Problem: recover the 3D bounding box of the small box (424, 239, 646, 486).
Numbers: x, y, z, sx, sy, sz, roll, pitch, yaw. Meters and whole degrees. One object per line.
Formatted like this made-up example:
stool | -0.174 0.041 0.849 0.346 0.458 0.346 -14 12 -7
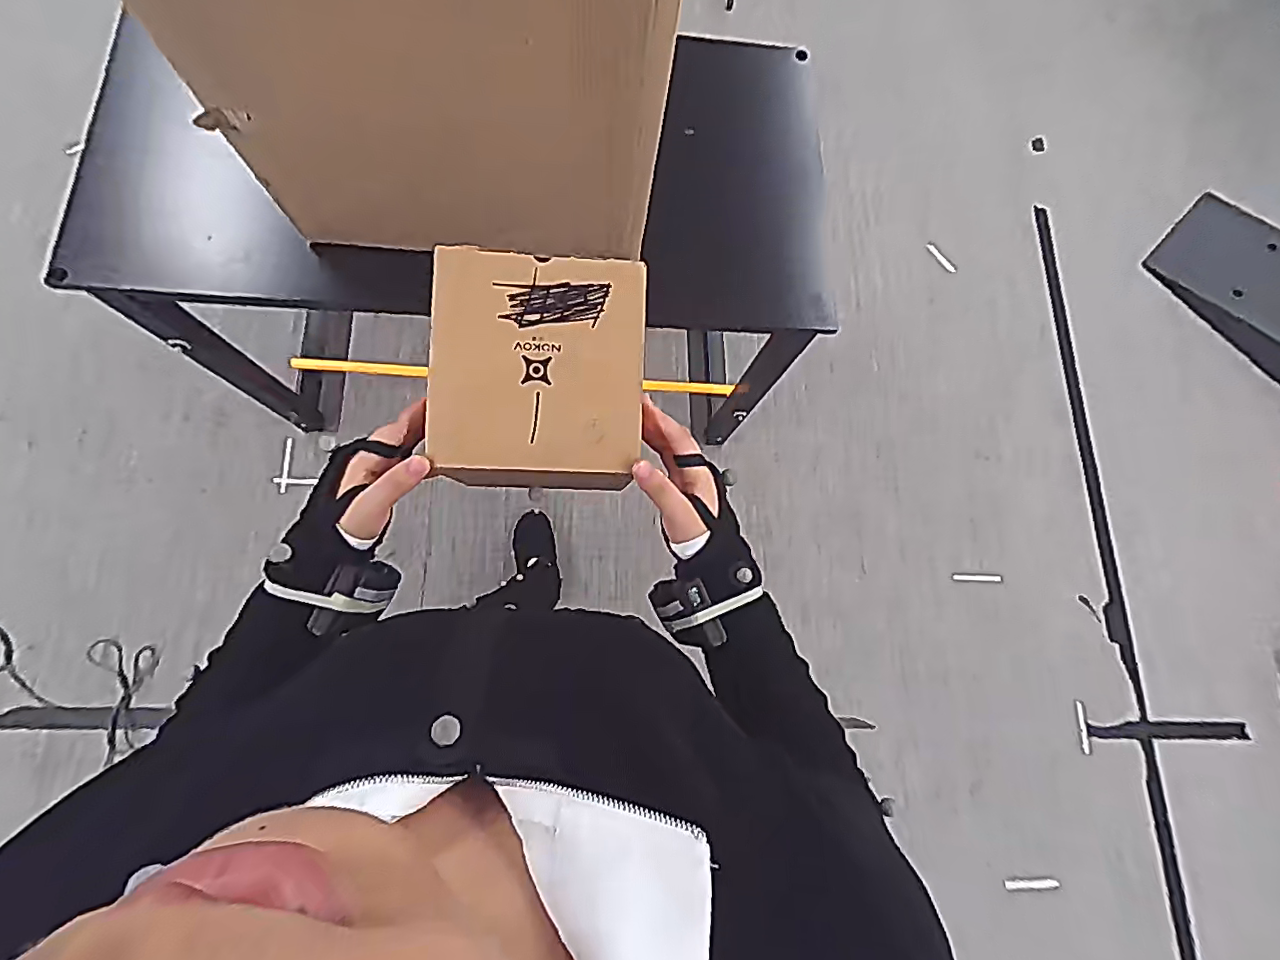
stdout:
small box | -0.087 -0.091 0.499 0.168 0.176 0.179 2 84 -6
